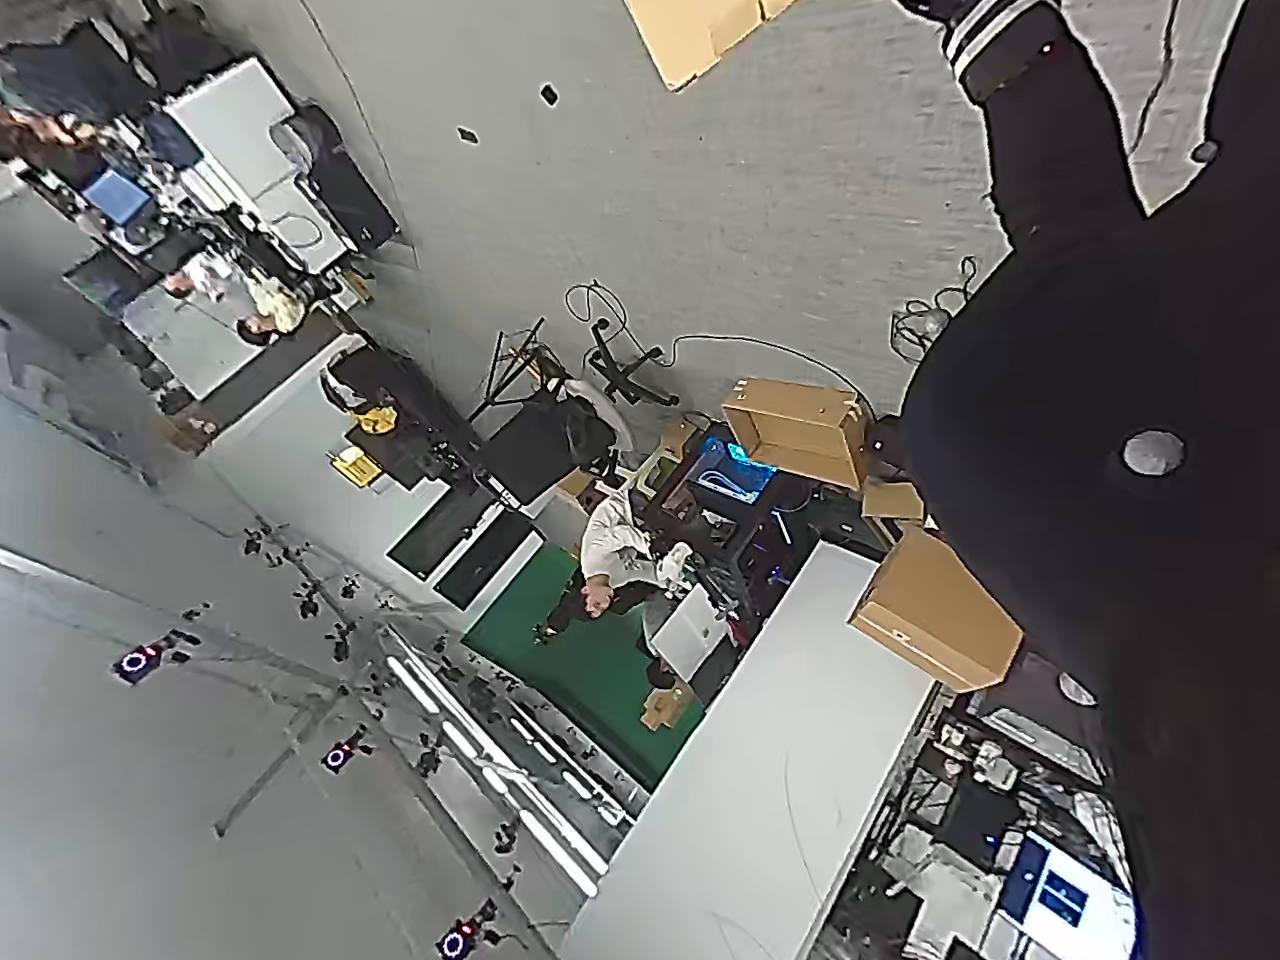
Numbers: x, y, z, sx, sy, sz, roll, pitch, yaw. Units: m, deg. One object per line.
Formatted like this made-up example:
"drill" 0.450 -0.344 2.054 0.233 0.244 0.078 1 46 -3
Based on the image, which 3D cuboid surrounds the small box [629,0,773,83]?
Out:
"small box" 0.067 -0.427 0.360 0.168 0.179 0.176 11 146 53
